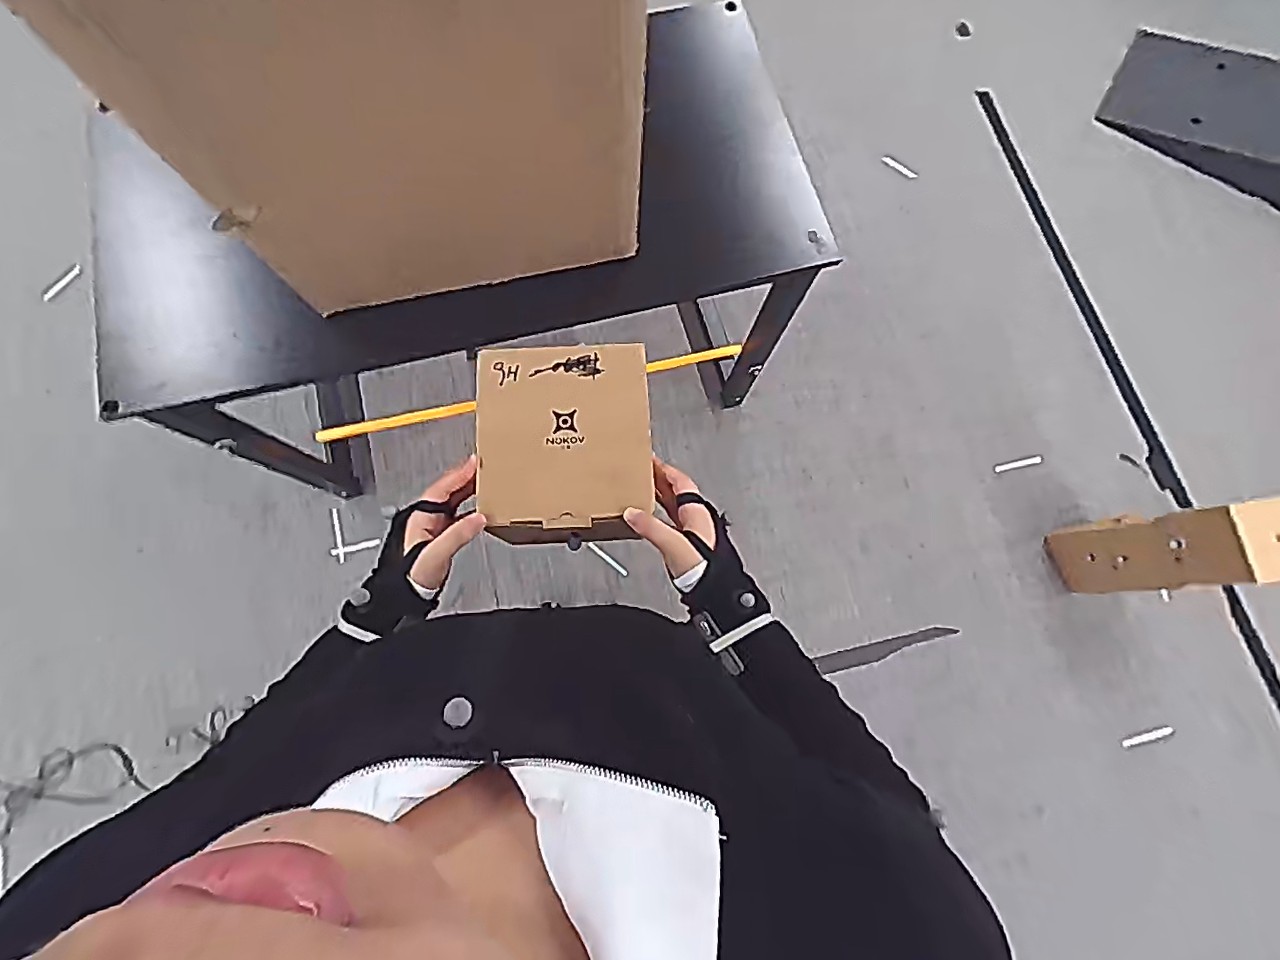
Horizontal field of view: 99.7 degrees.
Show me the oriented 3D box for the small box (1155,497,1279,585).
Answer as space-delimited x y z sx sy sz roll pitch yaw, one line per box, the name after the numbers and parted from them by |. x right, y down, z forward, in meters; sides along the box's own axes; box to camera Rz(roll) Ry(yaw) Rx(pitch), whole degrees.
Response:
1.297 0.134 1.173 0.179 0.176 0.168 -8 77 -3 | small box

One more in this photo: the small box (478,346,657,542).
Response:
-0.069 -0.026 0.581 0.168 0.176 0.179 -2 78 -2 | small box

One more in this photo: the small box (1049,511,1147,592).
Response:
1.290 0.202 1.493 0.168 0.176 0.179 -17 79 -6 | small box

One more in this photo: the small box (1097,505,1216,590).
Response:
1.298 0.170 1.332 0.179 0.176 0.168 -13 78 -5 | small box
